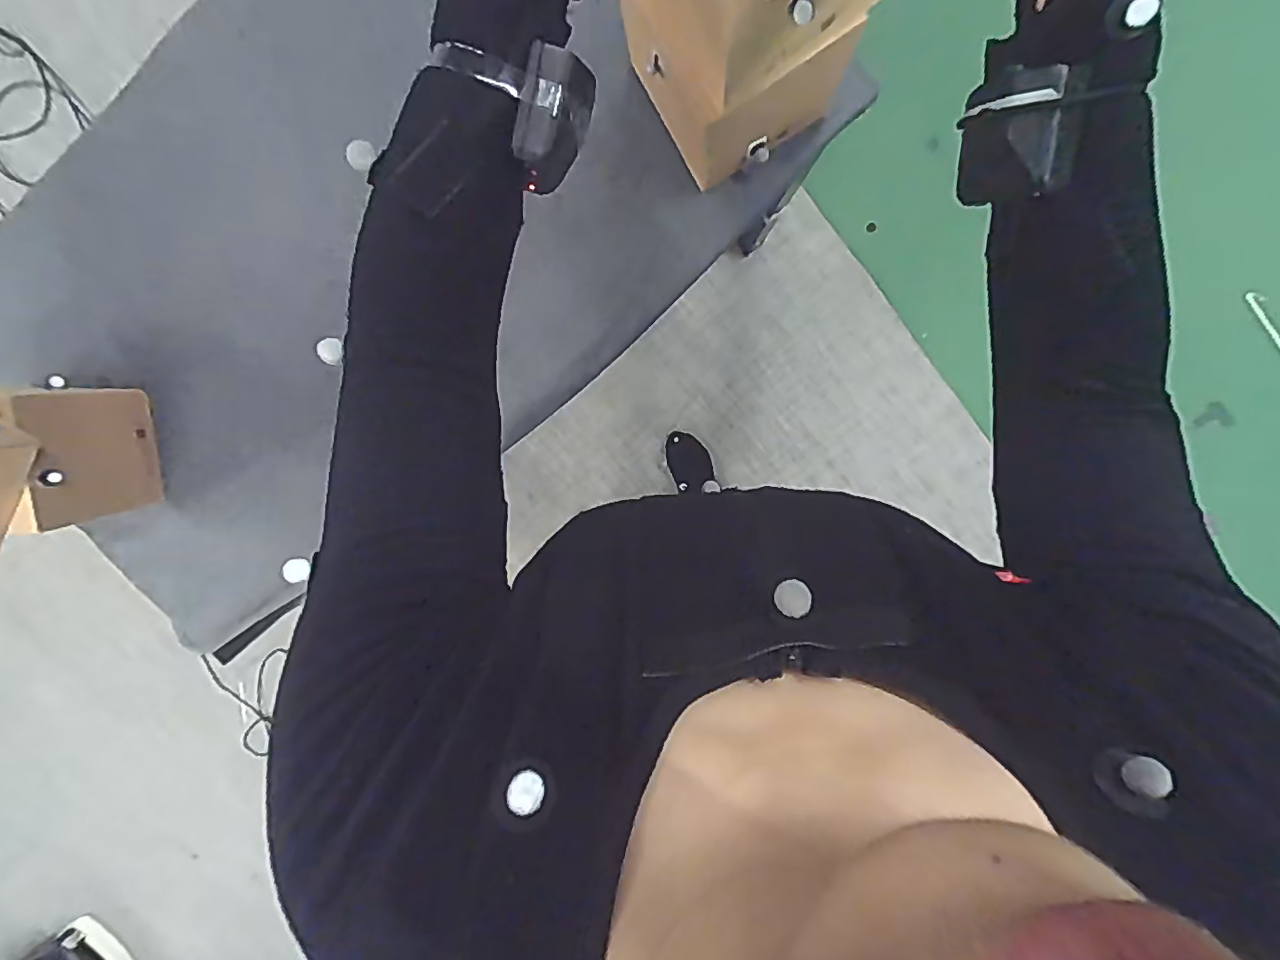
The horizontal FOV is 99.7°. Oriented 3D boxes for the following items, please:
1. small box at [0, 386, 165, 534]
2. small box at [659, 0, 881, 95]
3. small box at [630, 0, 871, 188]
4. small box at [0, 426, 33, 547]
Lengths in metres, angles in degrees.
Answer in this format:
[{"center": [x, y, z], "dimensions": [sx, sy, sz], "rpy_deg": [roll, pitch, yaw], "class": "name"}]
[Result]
[{"center": [-0.780, -0.034, 0.700], "dimensions": [0.179, 0.176, 0.168], "rpy_deg": [2, 101, 3], "class": "small box"}, {"center": [0.093, -0.430, 0.394], "dimensions": [0.168, 0.176, 0.179], "rpy_deg": [-32, 93, 10], "class": "small box"}, {"center": [0.099, -0.446, 0.556], "dimensions": [0.168, 0.176, 0.179], "rpy_deg": [-29, 95, 10], "class": "small box"}, {"center": [-0.787, 0.001, 0.539], "dimensions": [0.168, 0.176, 0.179], "rpy_deg": [32, 102, -4], "class": "small box"}]
